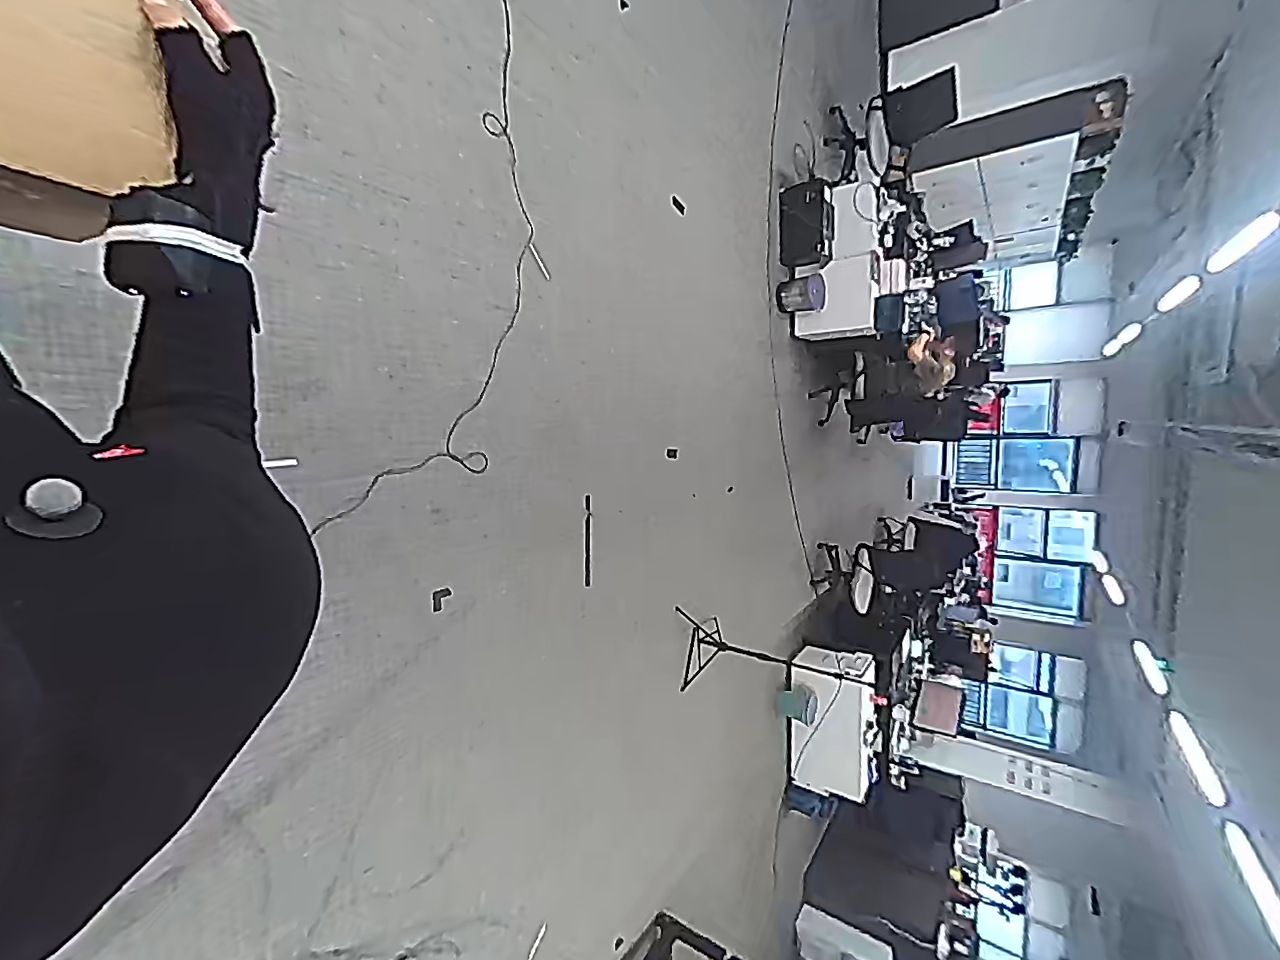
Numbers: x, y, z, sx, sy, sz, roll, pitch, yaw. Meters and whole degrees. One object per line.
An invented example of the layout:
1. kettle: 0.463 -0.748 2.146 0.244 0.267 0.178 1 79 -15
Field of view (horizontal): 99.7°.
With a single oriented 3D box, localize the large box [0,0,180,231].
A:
1. large box: -0.572 -0.378 0.314 0.408 0.320 0.320 -3 104 -56
